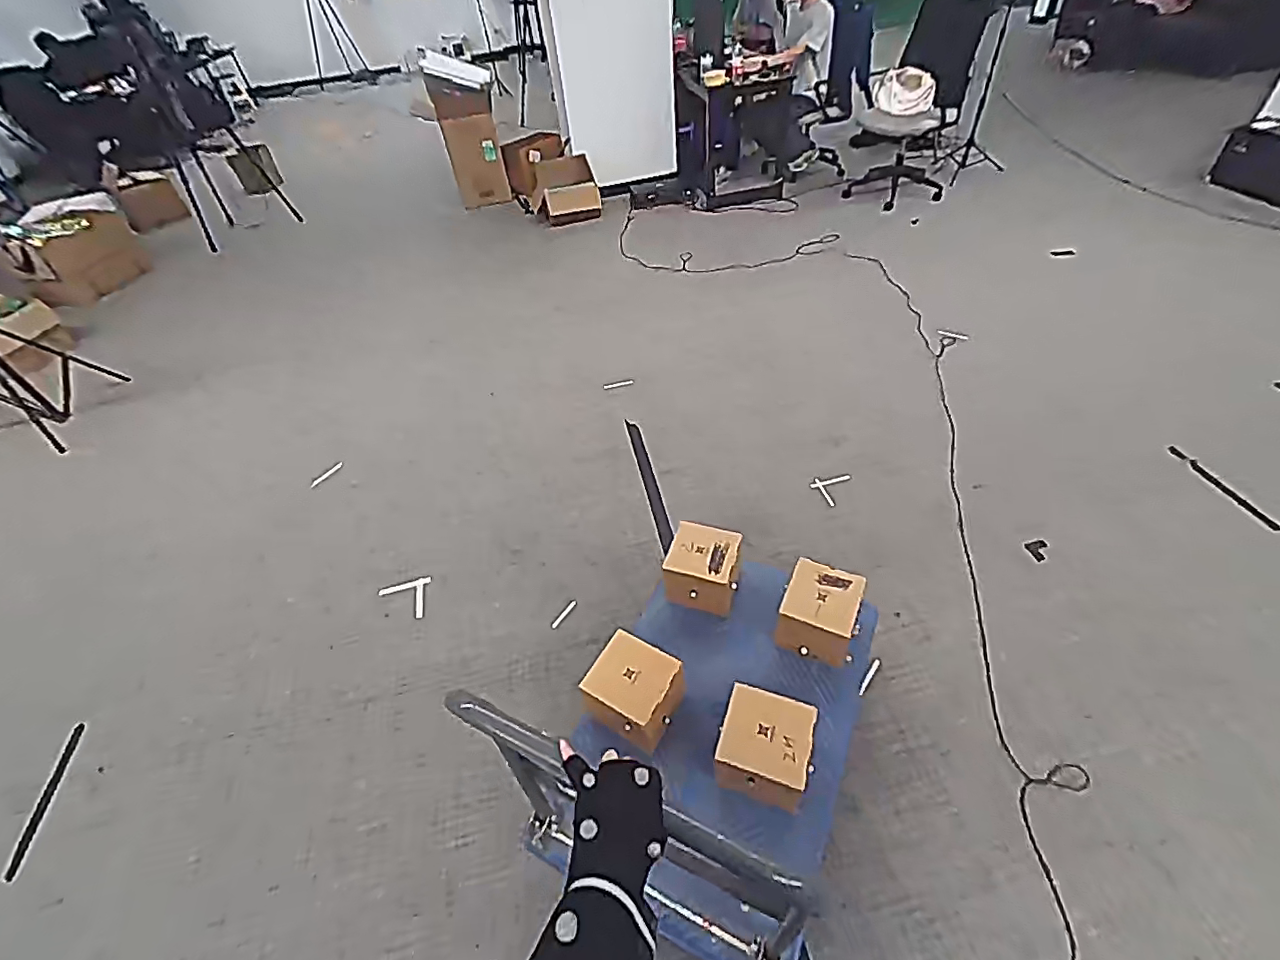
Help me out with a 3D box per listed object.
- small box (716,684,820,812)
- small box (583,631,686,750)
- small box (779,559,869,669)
[{"bbox_3d":[0.268,0.566,1.138,0.179,0.176,0.168,12,49,20],"label":"small box"},{"bbox_3d":[-0.007,0.492,1.255,0.179,0.176,0.168,21,52,25],"label":"small box"},{"bbox_3d":[0.450,0.333,1.341,0.168,0.176,0.179,17,52,24],"label":"small box"}]
